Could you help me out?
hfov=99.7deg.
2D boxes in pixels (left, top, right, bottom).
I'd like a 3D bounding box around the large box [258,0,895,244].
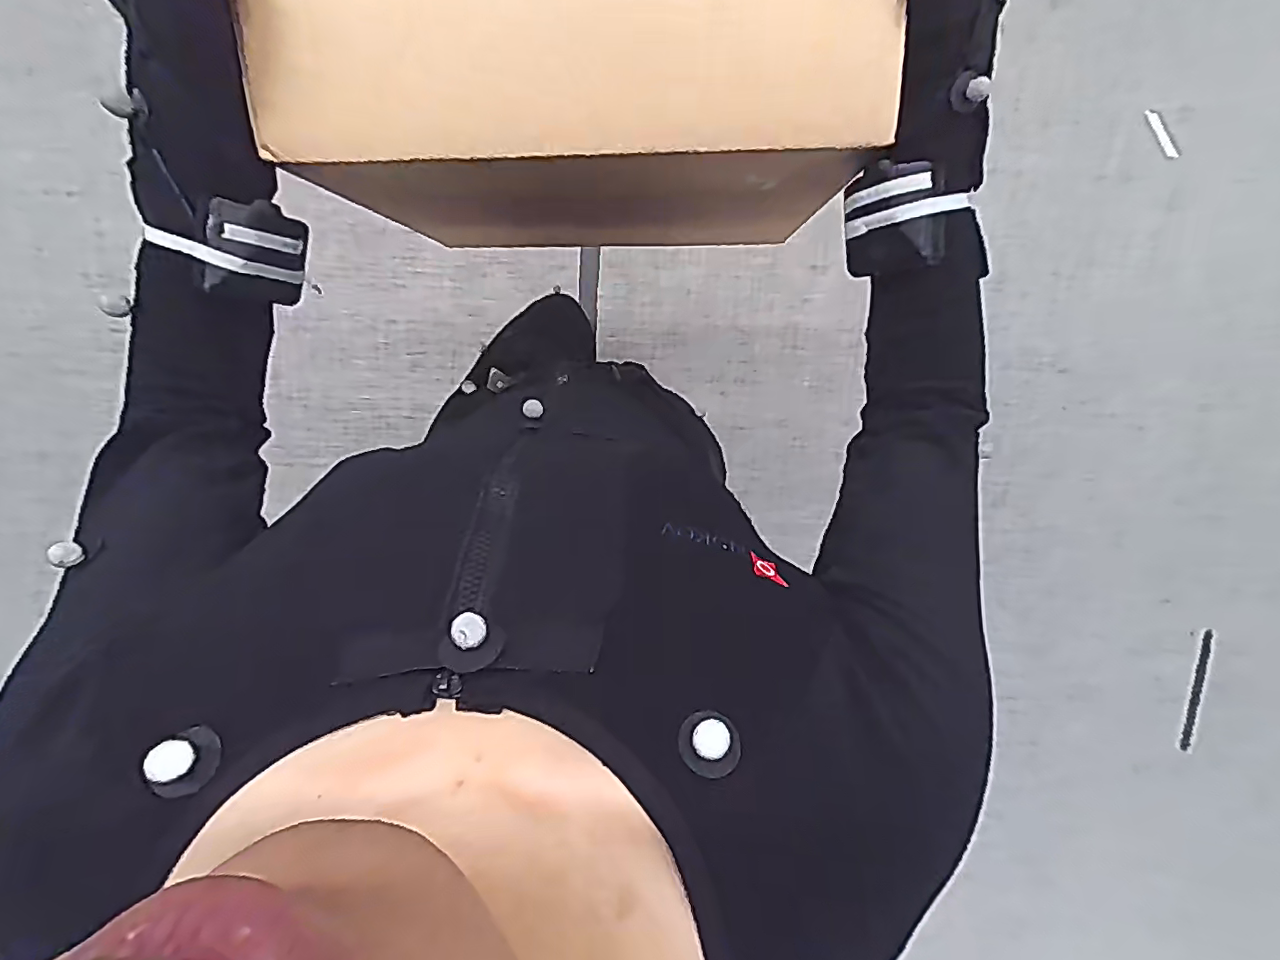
[{"bbox_3d":[-0.039,-0.403,0.464,0.408,0.320,0.320,0,103,2],"label":"large box"}]
